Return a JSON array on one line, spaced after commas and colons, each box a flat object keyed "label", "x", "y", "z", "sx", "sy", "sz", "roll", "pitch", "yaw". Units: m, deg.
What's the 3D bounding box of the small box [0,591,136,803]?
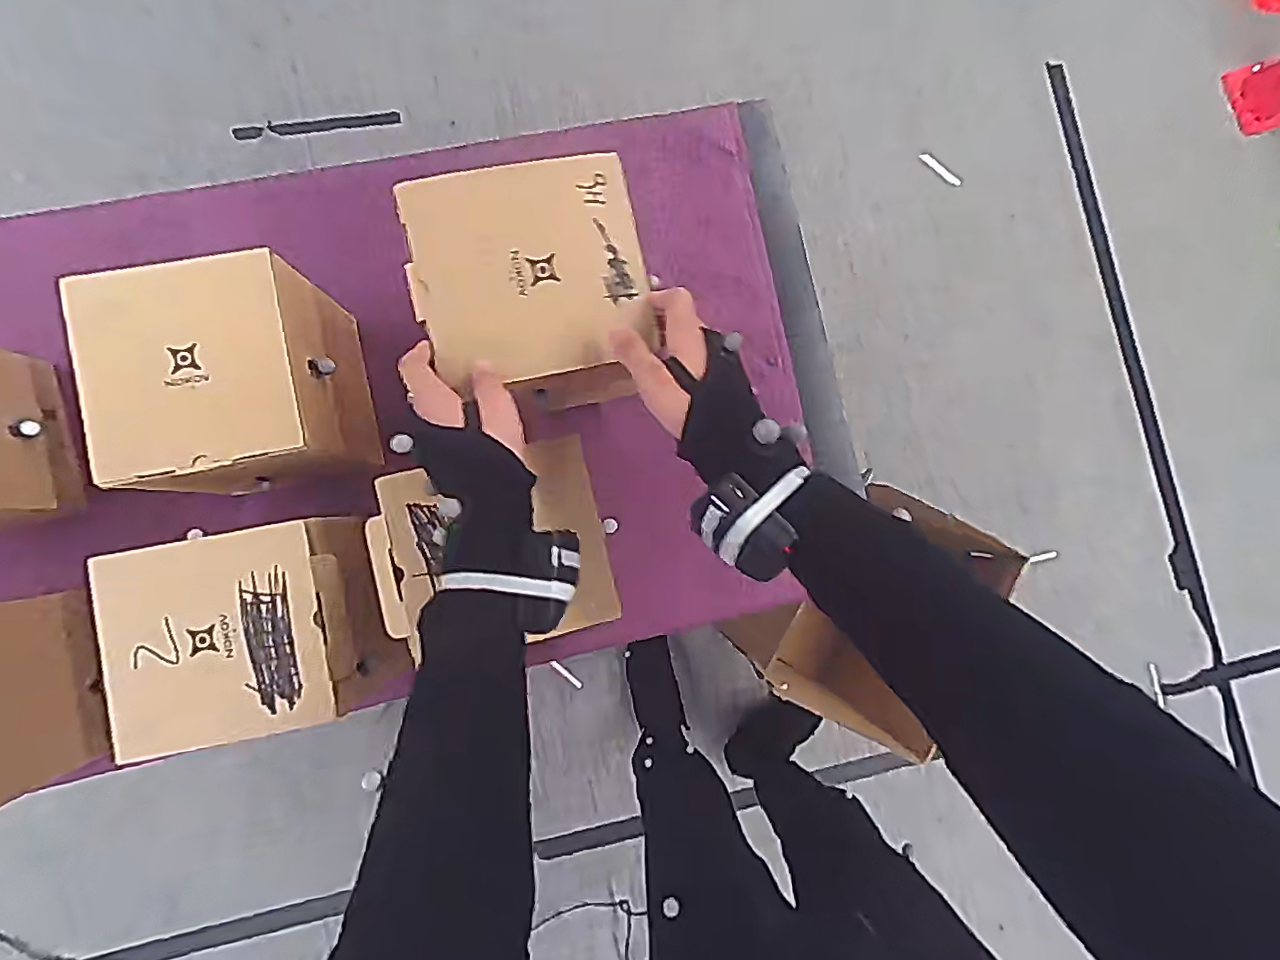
[{"label": "small box", "x": -0.616, "y": 0.206, "z": 0.478, "sx": 0.179, "sy": 0.176, "sz": 0.168, "roll": -13, "pitch": 88, "yaw": -6}]

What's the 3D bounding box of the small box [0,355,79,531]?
[{"label": "small box", "x": -0.684, "y": -0.026, "z": 0.484, "sx": 0.179, "sy": 0.176, "sz": 0.168, "roll": -15, "pitch": 89, "yaw": -7}]

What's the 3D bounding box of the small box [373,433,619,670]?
[{"label": "small box", "x": -0.125, "y": 0.064, "z": 0.529, "sx": 0.179, "sy": 0.176, "sz": 0.168, "roll": -14, "pitch": 88, "yaw": -6}]
